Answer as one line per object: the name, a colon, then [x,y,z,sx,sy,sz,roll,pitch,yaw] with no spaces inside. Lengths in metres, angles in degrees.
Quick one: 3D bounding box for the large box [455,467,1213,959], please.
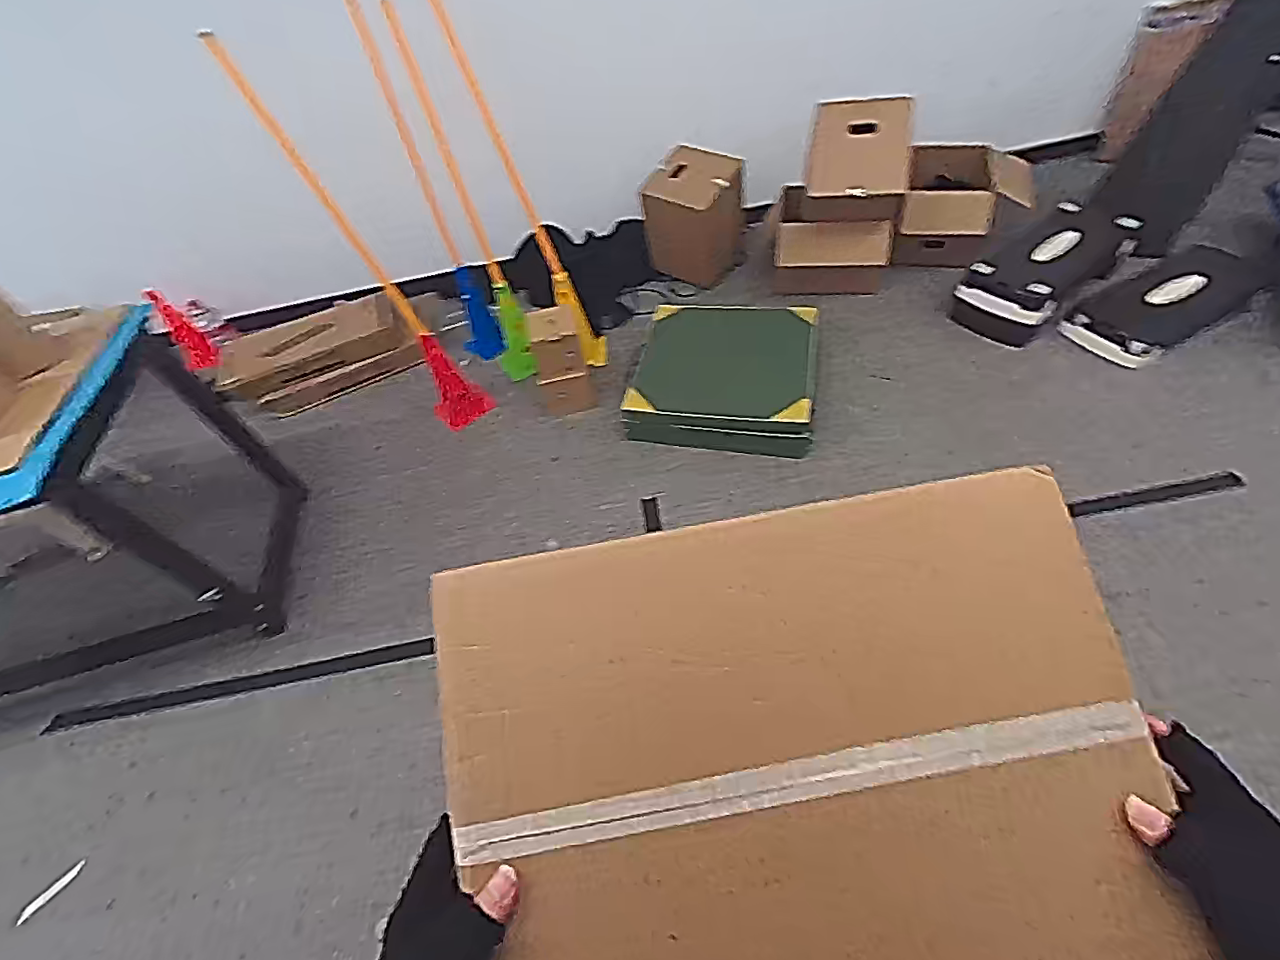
large box: [0.101,0.207,0.472,0.408,0.320,0.320,-10,78,0]
